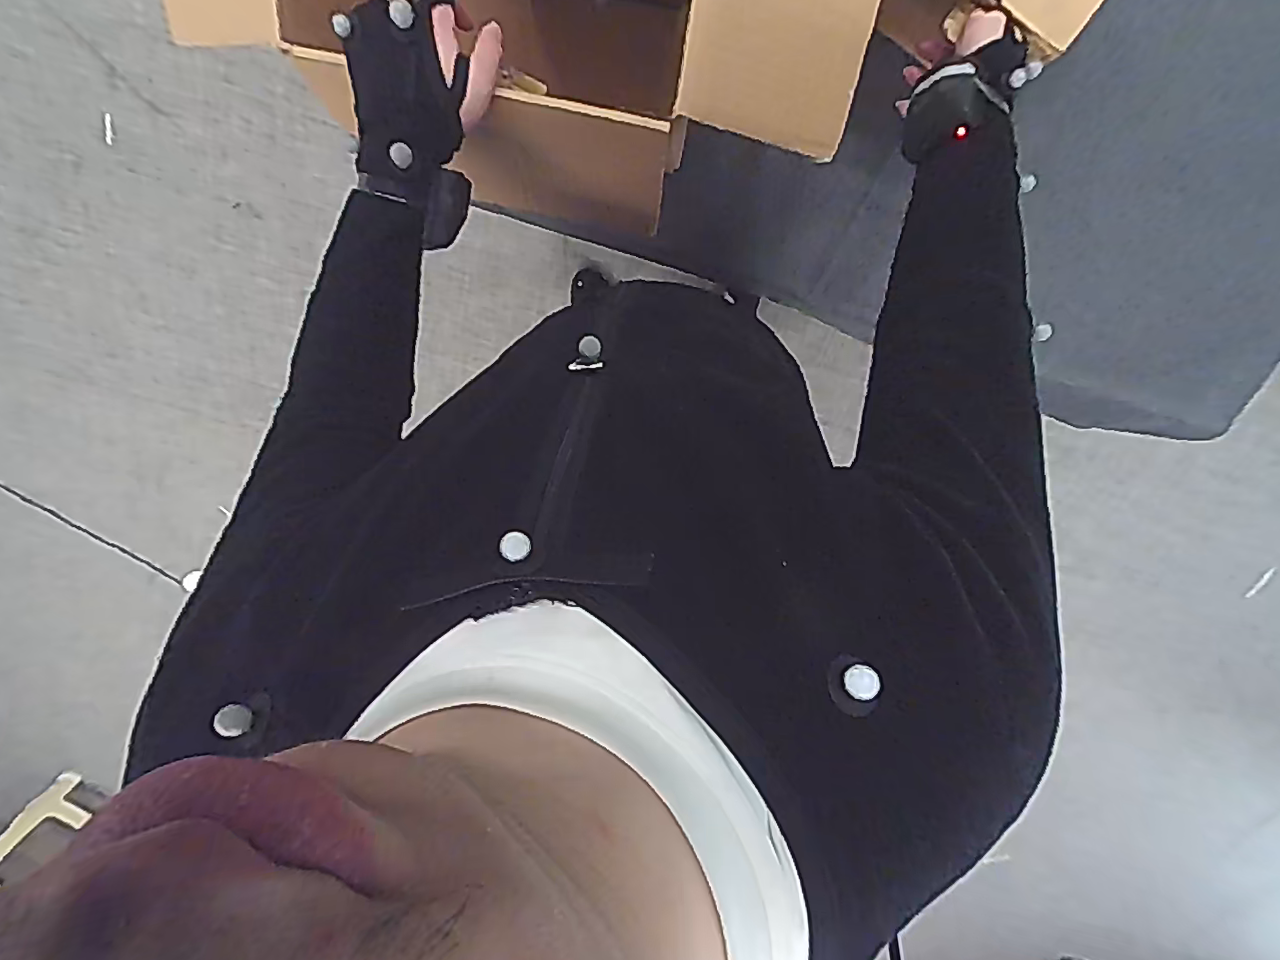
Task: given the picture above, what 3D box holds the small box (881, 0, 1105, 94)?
[{"bbox_3d":[0.367,-0.524,0.528,0.168,0.176,0.179,29,112,-10],"label":"small box"}]
